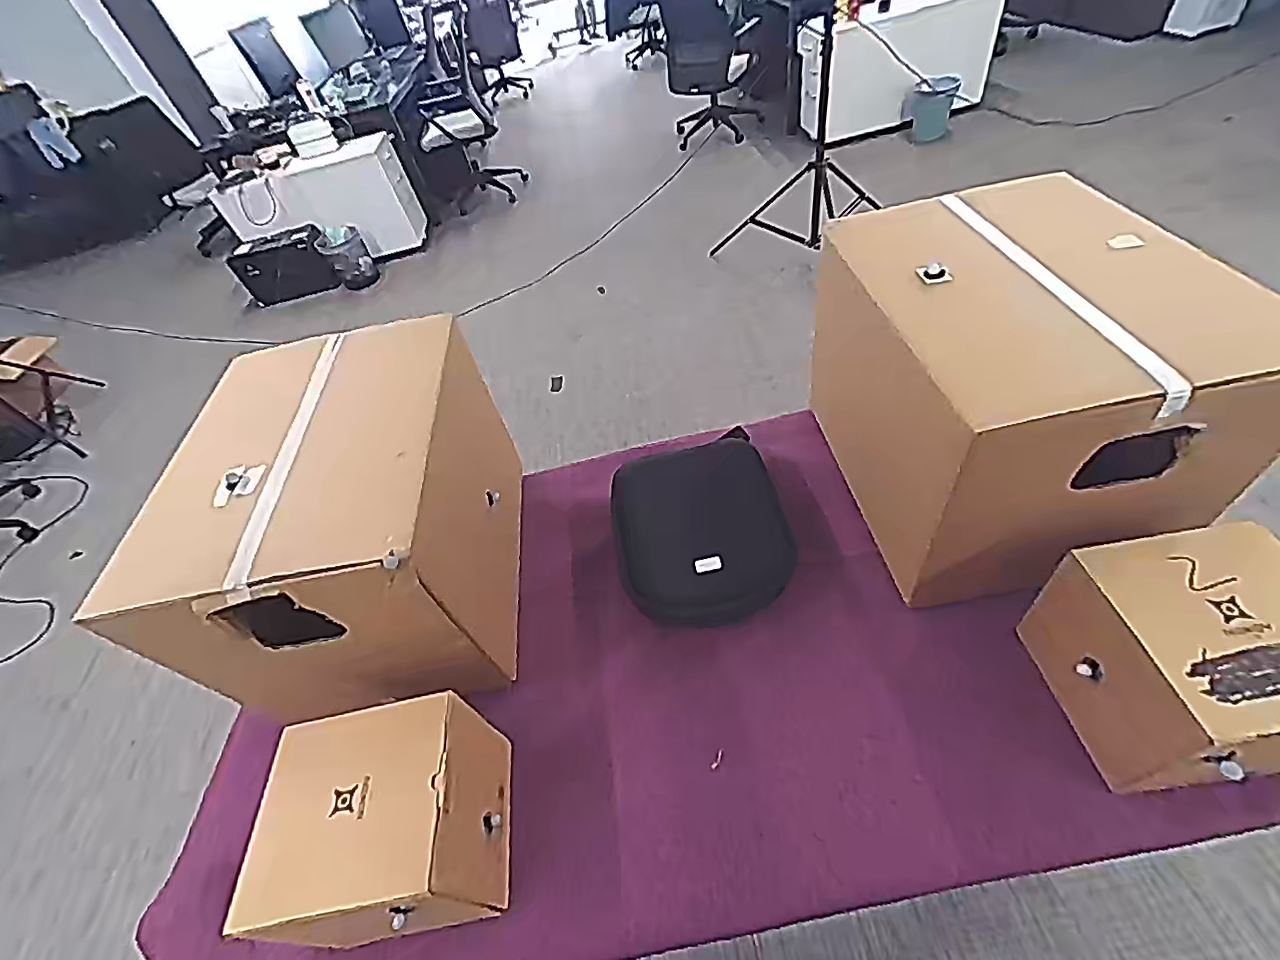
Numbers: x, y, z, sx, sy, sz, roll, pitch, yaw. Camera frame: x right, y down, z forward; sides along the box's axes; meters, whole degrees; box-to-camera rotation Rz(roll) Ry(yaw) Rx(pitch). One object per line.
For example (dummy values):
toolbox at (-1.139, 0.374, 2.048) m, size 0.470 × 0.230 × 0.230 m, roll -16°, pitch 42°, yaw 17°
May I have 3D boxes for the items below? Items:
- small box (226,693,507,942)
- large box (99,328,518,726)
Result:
small box at (-0.251, 0.346, 0.550) m, size 0.179 × 0.176 × 0.168 m, roll -13°, pitch 46°, yaw 1°
large box at (-0.359, 0.060, 0.733) m, size 0.320 × 0.320 × 0.408 m, roll -12°, pitch 50°, yaw 2°
